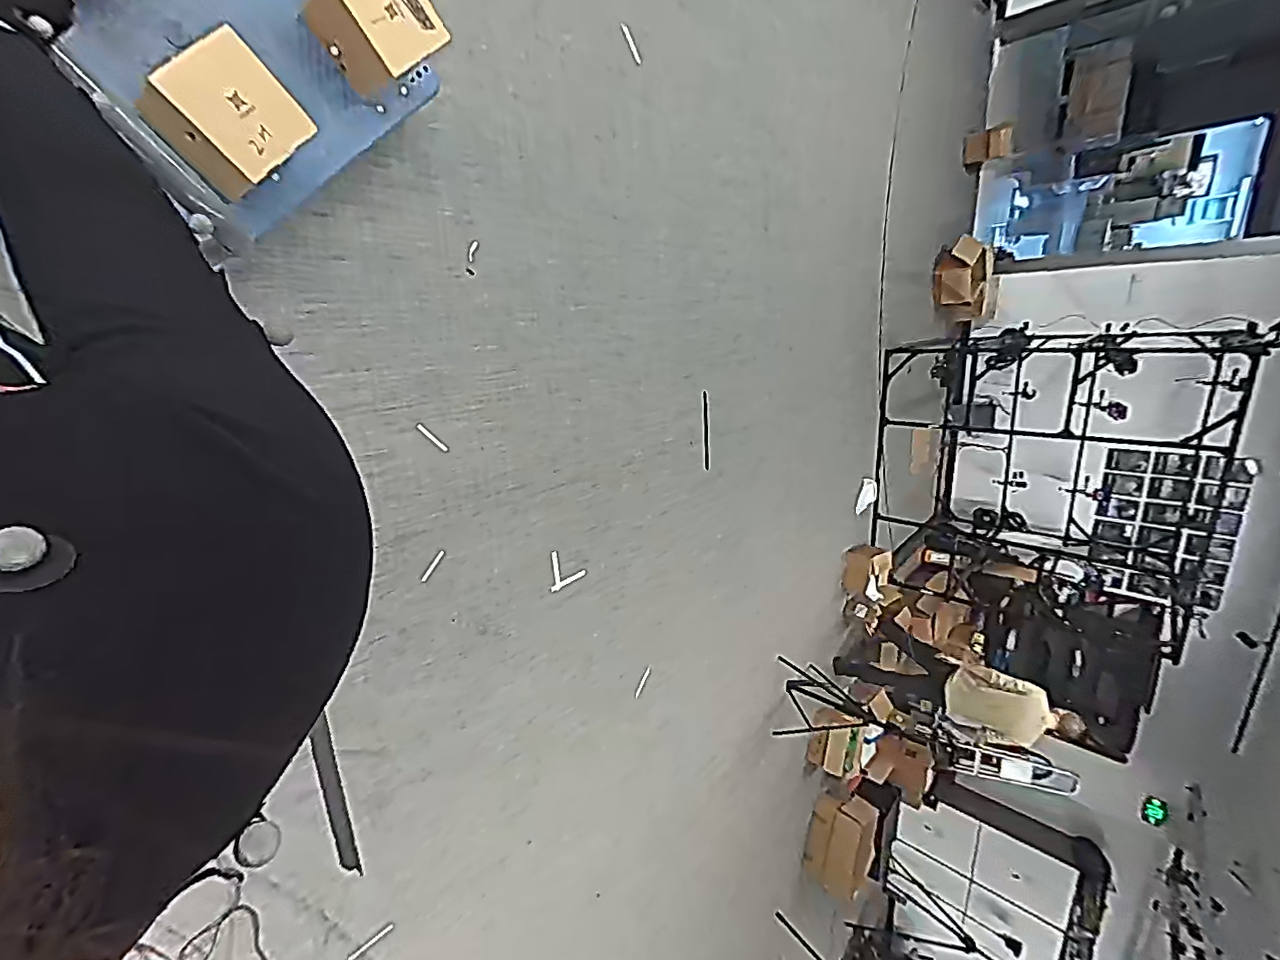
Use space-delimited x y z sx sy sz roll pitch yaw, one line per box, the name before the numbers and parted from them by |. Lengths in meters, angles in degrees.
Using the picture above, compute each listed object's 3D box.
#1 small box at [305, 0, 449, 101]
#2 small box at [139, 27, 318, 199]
small box | -0.537 -0.919 1.101 0.179 0.176 0.168 -56 134 -23
small box | -0.725 -0.632 0.953 0.168 0.176 0.179 -59 136 -21
